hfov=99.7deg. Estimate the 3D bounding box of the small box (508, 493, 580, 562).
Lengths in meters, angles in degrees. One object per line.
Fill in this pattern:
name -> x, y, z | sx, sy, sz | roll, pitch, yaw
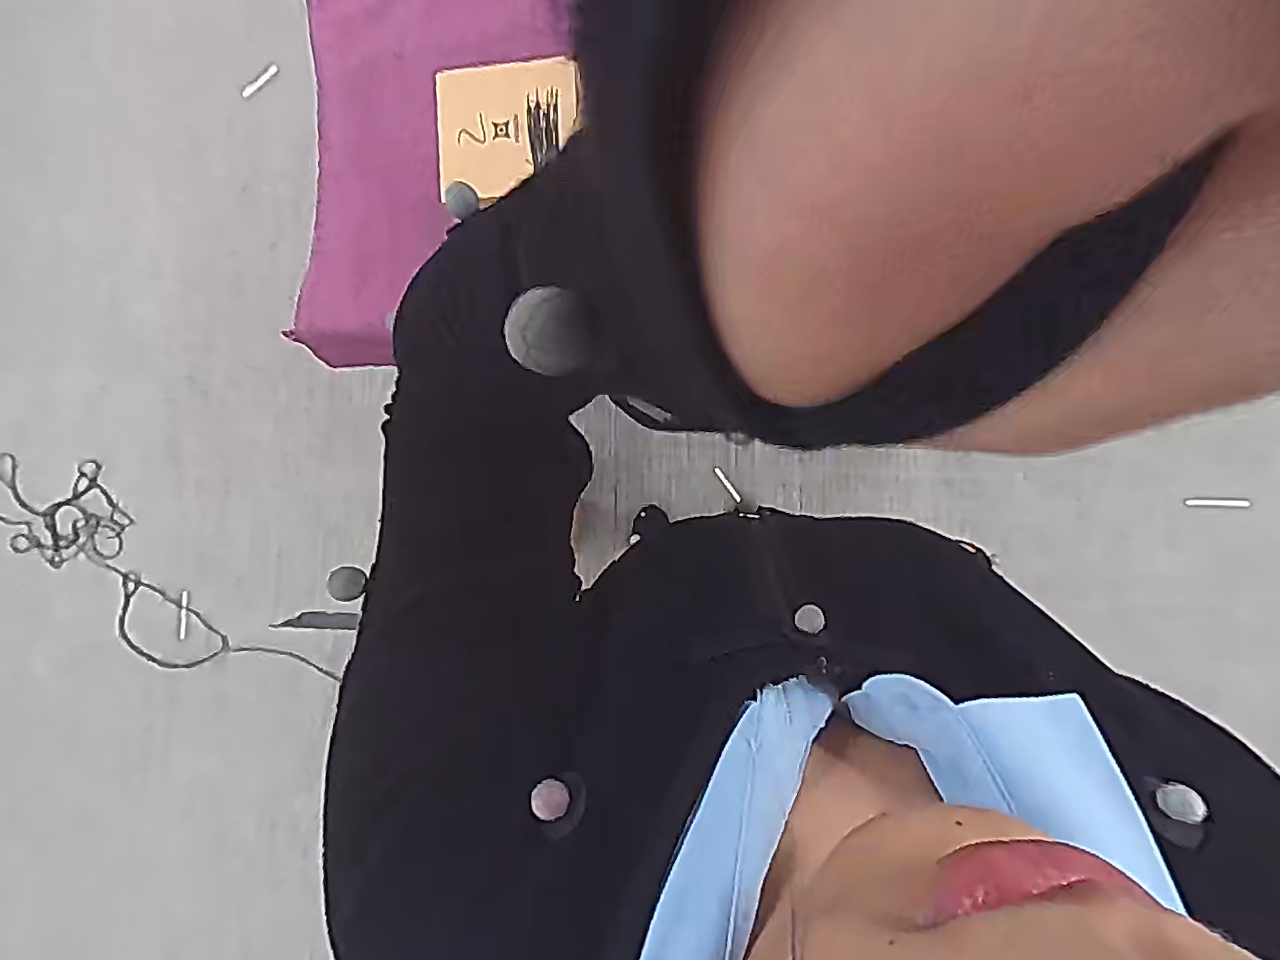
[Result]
small box -> -0.260, 0.130, 1.449 | 0.168, 0.176, 0.179 | 7, 88, 3
